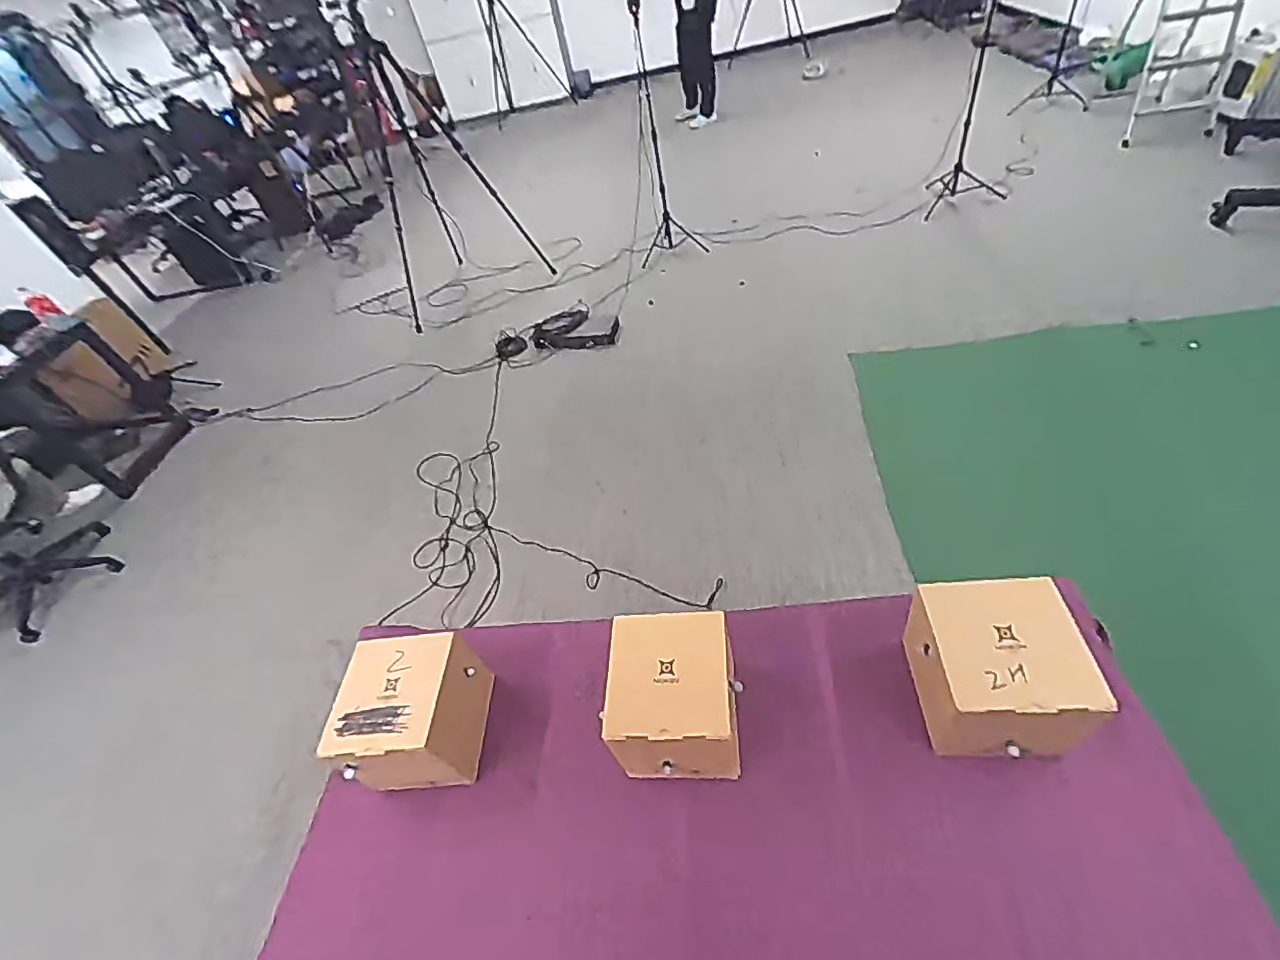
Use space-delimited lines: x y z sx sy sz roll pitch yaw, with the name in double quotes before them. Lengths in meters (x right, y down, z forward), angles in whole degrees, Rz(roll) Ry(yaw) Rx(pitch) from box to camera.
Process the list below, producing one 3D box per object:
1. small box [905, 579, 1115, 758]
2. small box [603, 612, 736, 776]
"small box" 0.472 0.254 0.728 0.168 0.176 0.179 -6 47 12
"small box" 0.051 0.312 0.789 0.168 0.176 0.179 -5 48 10
